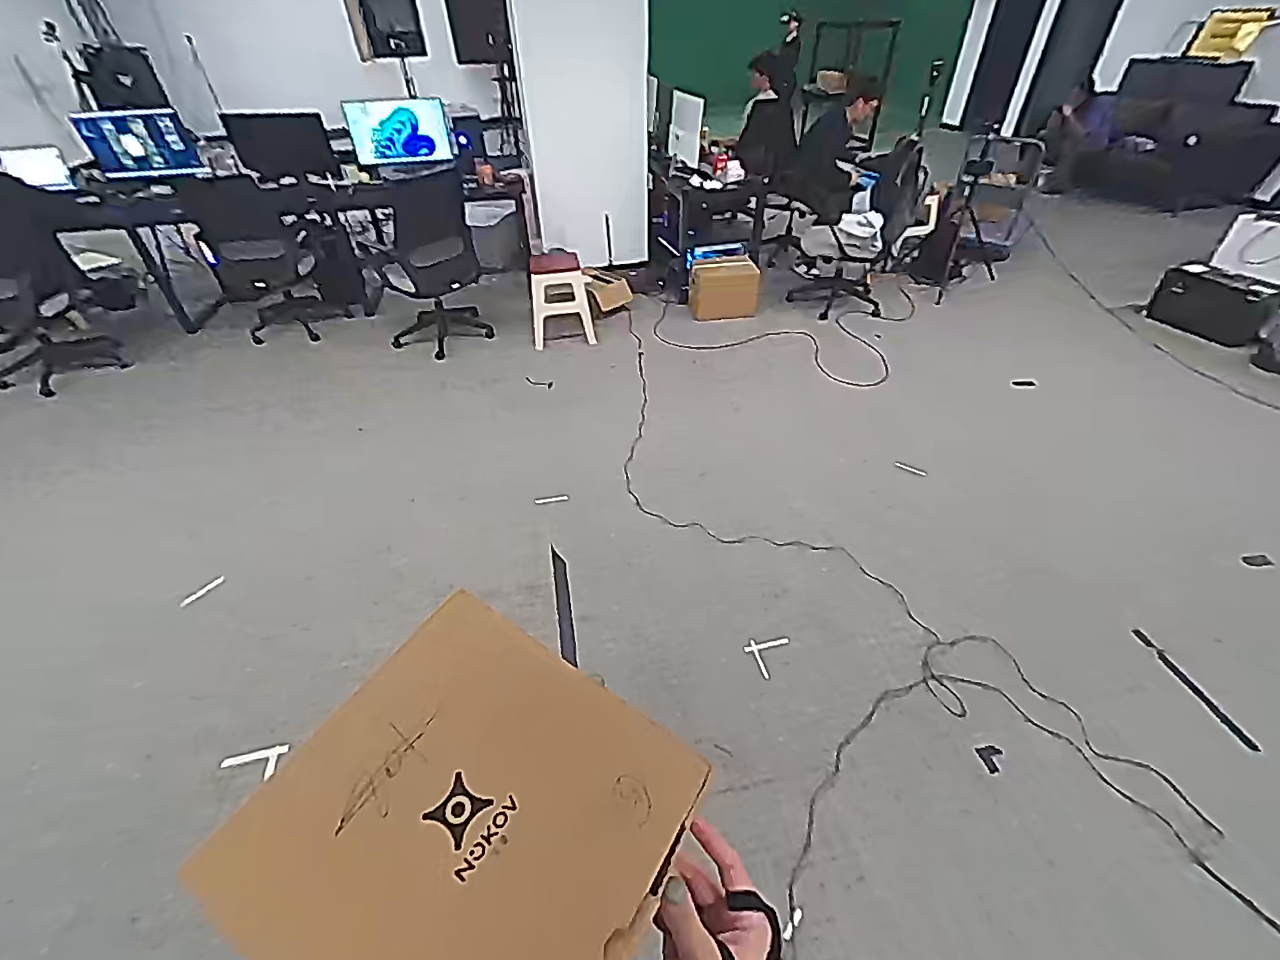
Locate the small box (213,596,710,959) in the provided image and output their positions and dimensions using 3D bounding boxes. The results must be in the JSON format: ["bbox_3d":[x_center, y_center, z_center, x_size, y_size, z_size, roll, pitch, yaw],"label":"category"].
[{"bbox_3d":[-0.081,0.208,0.320,0.179,0.176,0.168,26,52,20],"label":"small box"}]
